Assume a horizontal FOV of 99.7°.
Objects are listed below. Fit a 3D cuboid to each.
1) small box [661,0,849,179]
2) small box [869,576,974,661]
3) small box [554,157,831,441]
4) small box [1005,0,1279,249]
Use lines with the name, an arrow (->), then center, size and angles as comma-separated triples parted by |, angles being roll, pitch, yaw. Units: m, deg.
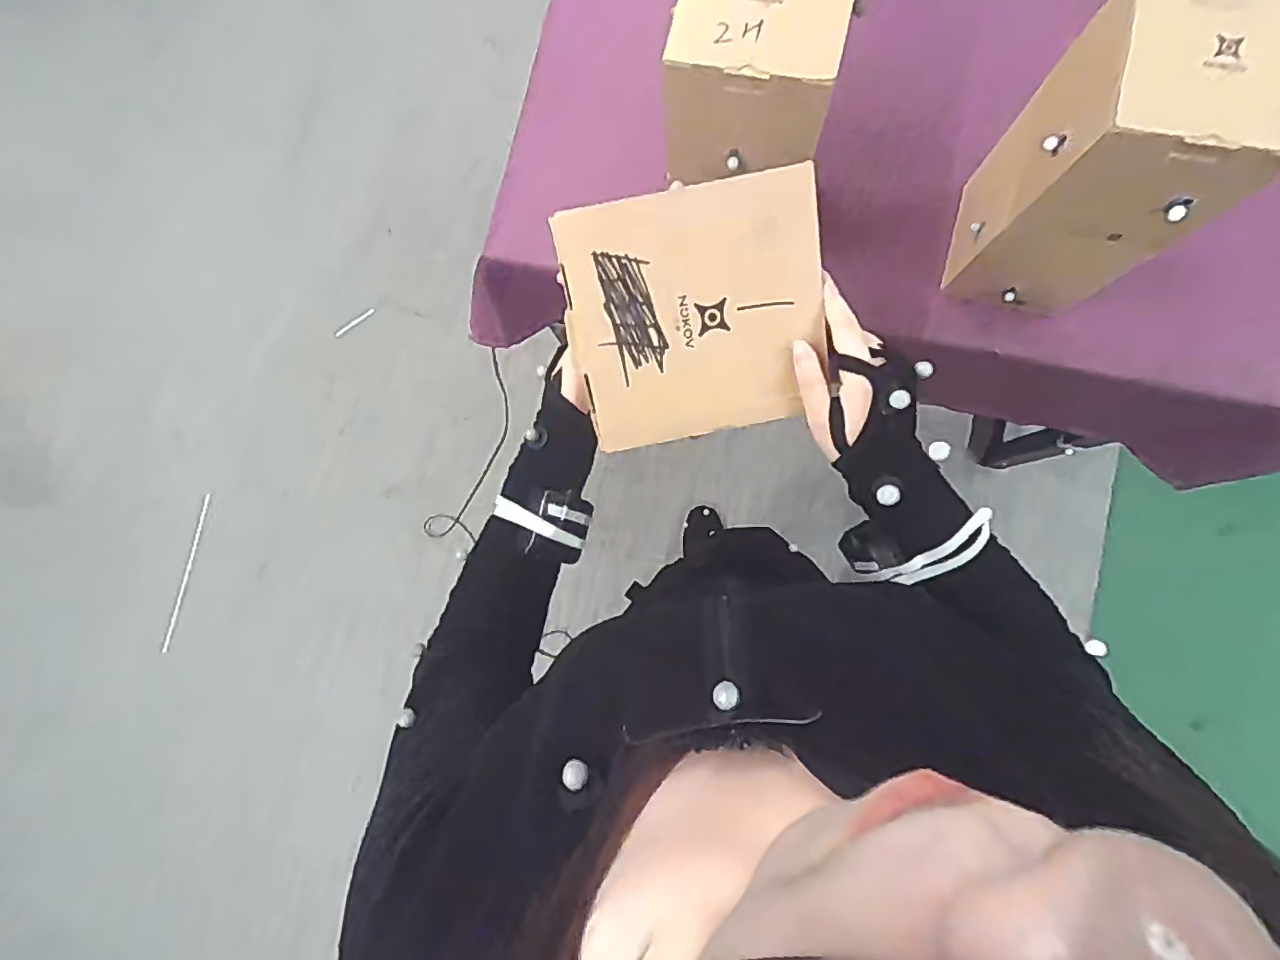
small box -> 0.124, -0.457, 0.598 | 0.168, 0.176, 0.179 | 13, 85, 7
small box -> 0.700, 0.341, 1.364 | 0.179, 0.176, 0.168 | 11, 85, 6
small box -> 0.038, -0.144, 0.451 | 0.179, 0.176, 0.168 | -11, 110, 0
small box -> 0.513, -0.366, 0.554 | 0.168, 0.176, 0.179 | 13, 85, 6
